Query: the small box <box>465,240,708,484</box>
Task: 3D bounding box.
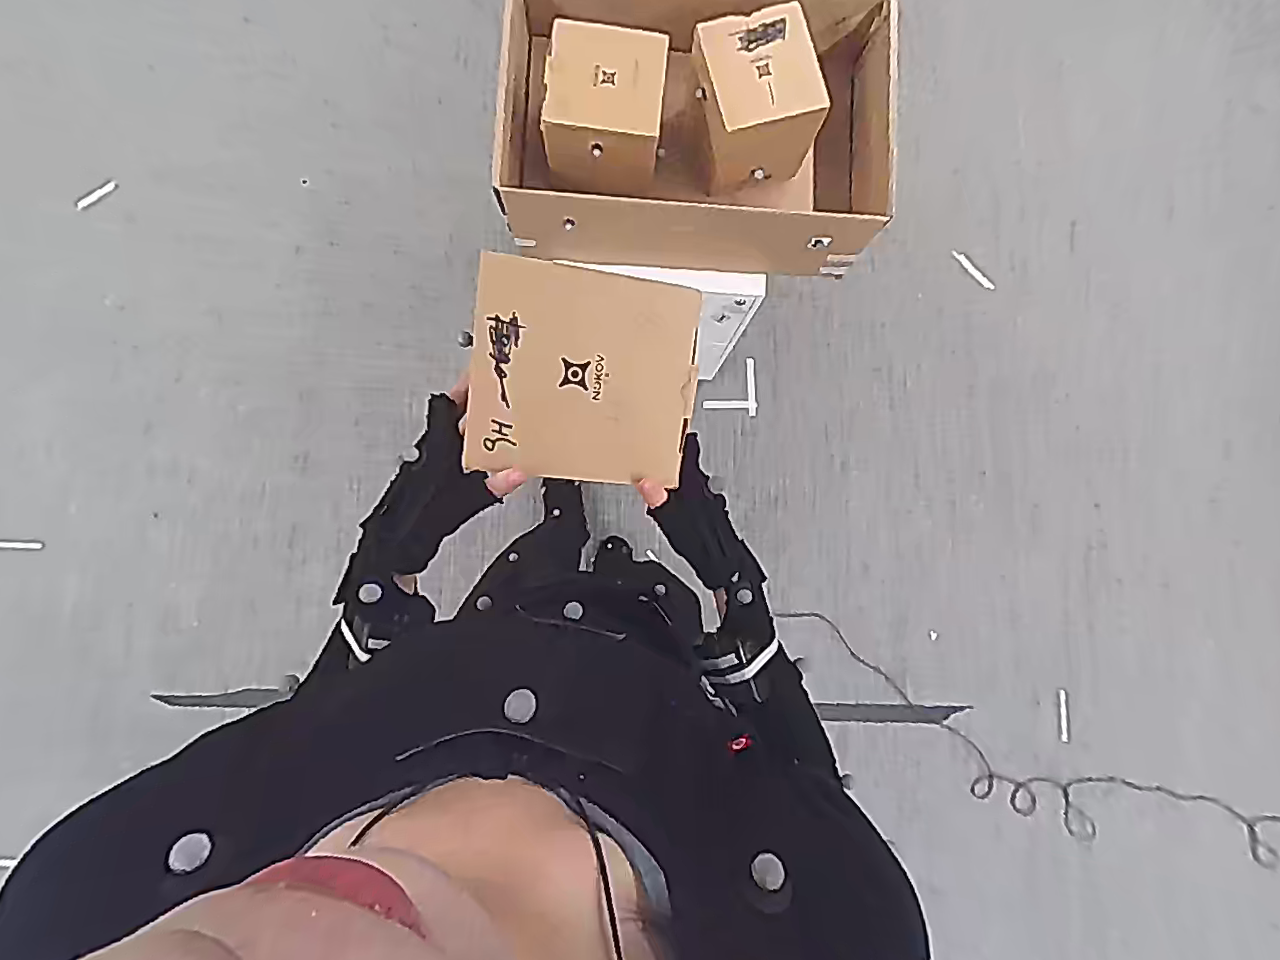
[{"bbox_3d":[-0.057,-0.095,0.501,0.179,0.176,0.168,7,94,-14],"label":"small box"}]
